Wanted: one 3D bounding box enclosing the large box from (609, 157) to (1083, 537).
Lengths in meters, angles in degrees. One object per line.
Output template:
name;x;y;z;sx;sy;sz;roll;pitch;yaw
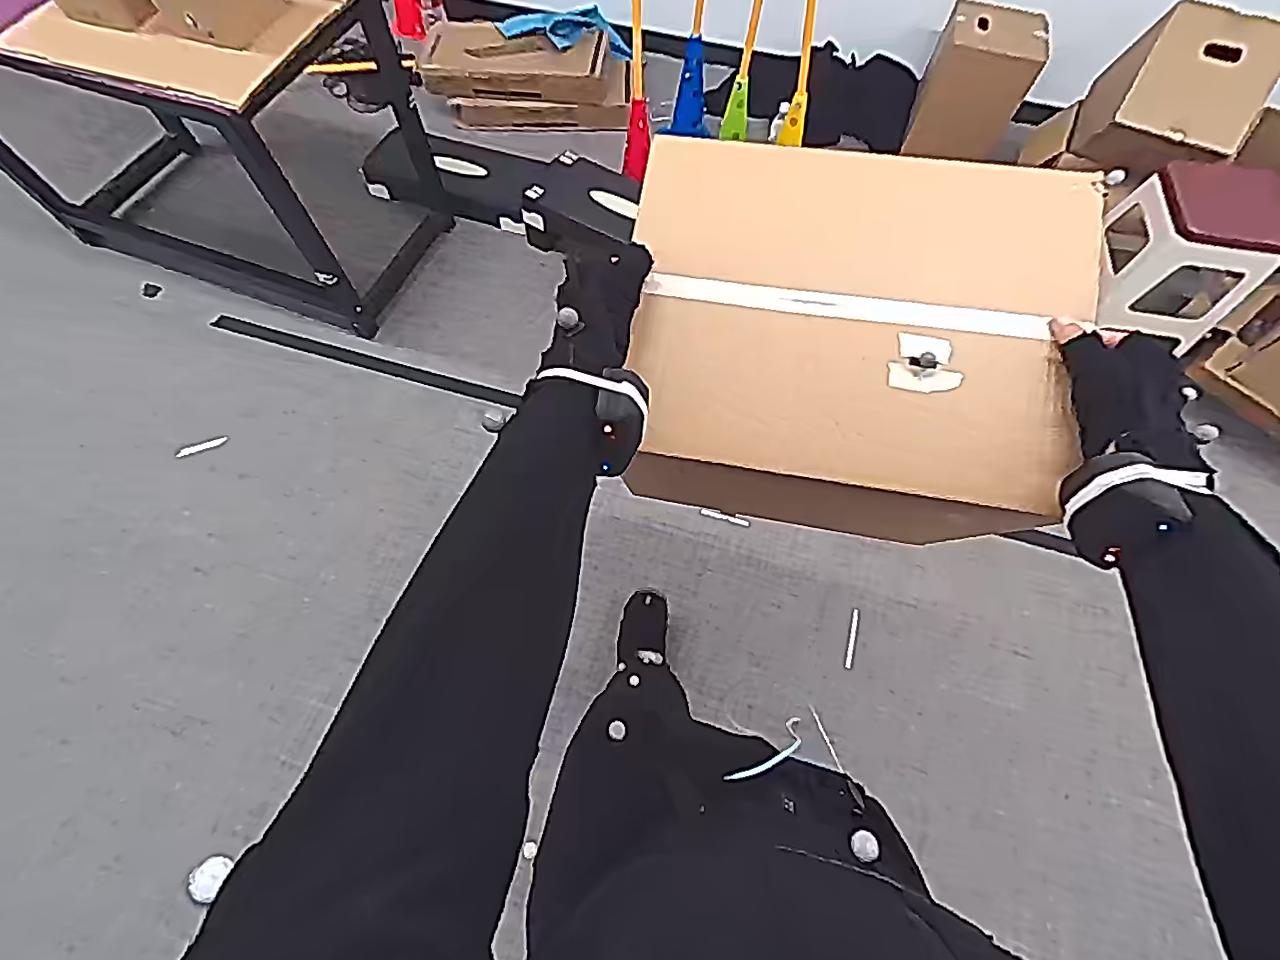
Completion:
large box;0.201;-0.124;0.643;0.408;0.320;0.320;10;82;7
